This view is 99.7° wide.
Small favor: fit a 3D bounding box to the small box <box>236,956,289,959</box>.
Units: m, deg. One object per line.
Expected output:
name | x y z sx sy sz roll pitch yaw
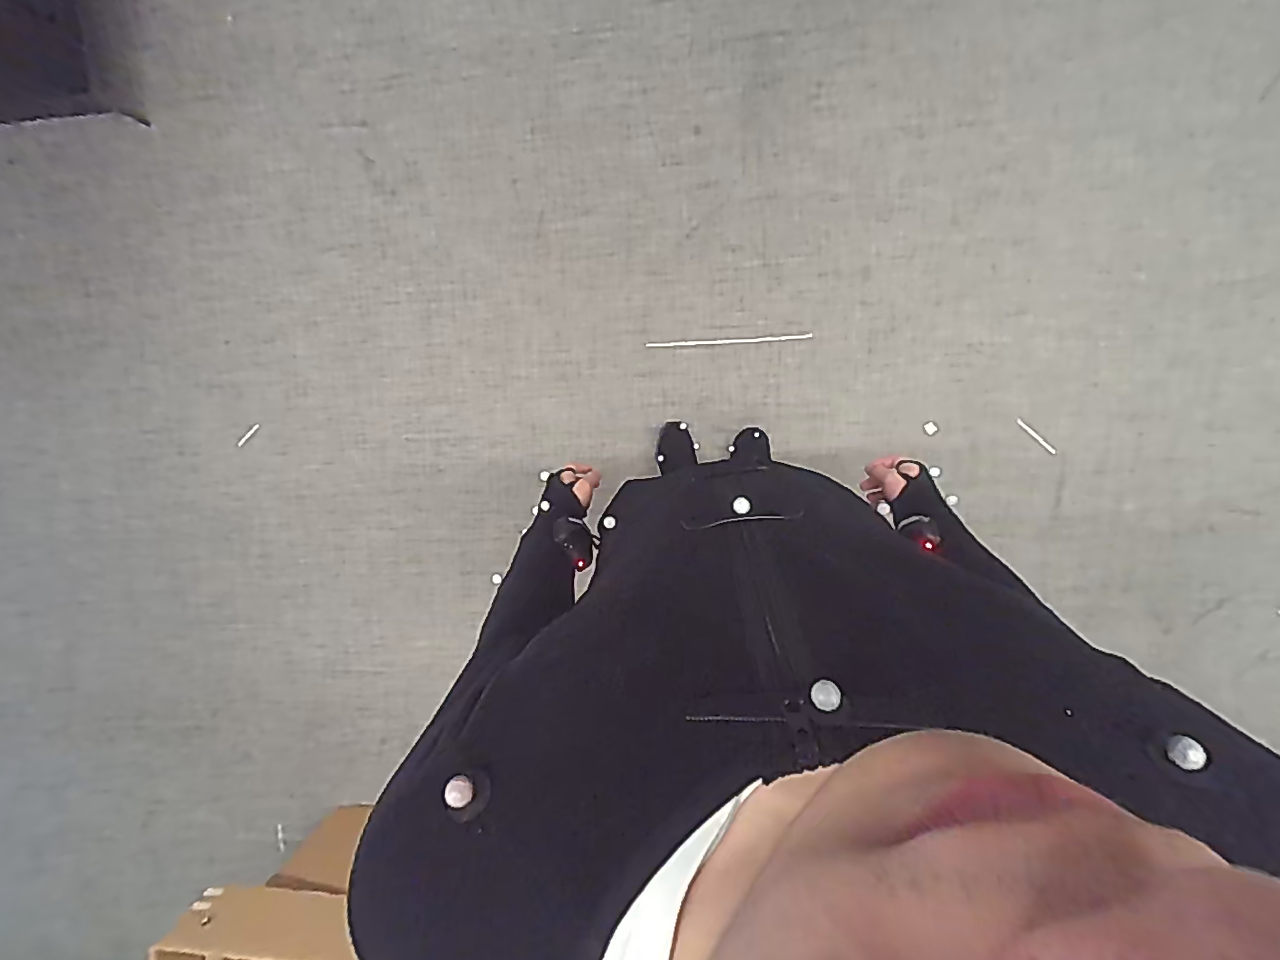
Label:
small box | -1.011 1.357 1.366 0.179 0.176 0.168 0 96 4
